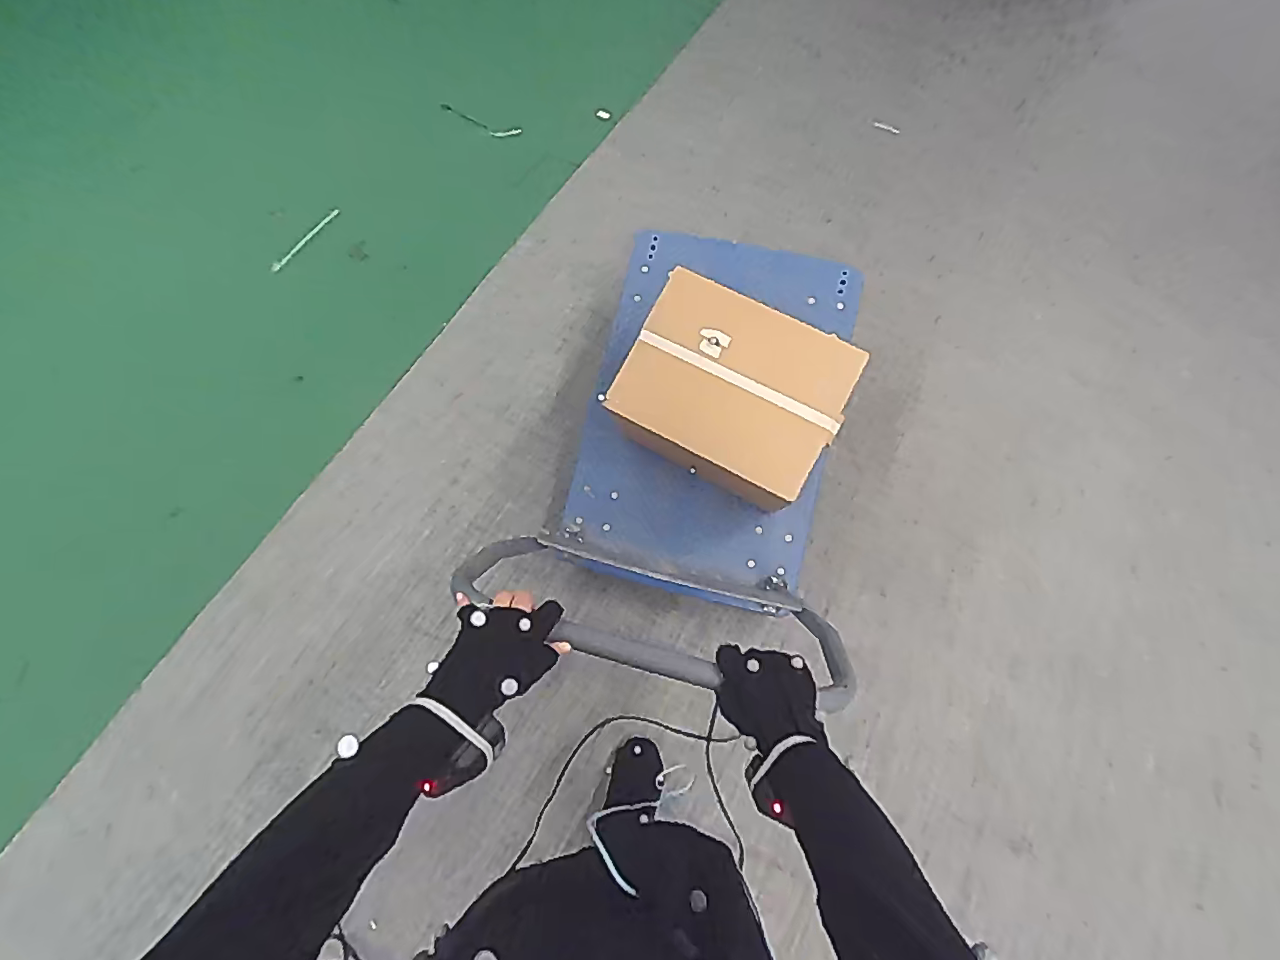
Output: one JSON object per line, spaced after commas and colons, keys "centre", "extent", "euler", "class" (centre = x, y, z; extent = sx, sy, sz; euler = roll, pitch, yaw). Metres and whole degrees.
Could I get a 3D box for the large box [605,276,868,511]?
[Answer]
{"centre": [0.196, -0.159, 1.155], "extent": [0.408, 0.320, 0.320], "euler": [28, 87, 10], "class": "large box"}
